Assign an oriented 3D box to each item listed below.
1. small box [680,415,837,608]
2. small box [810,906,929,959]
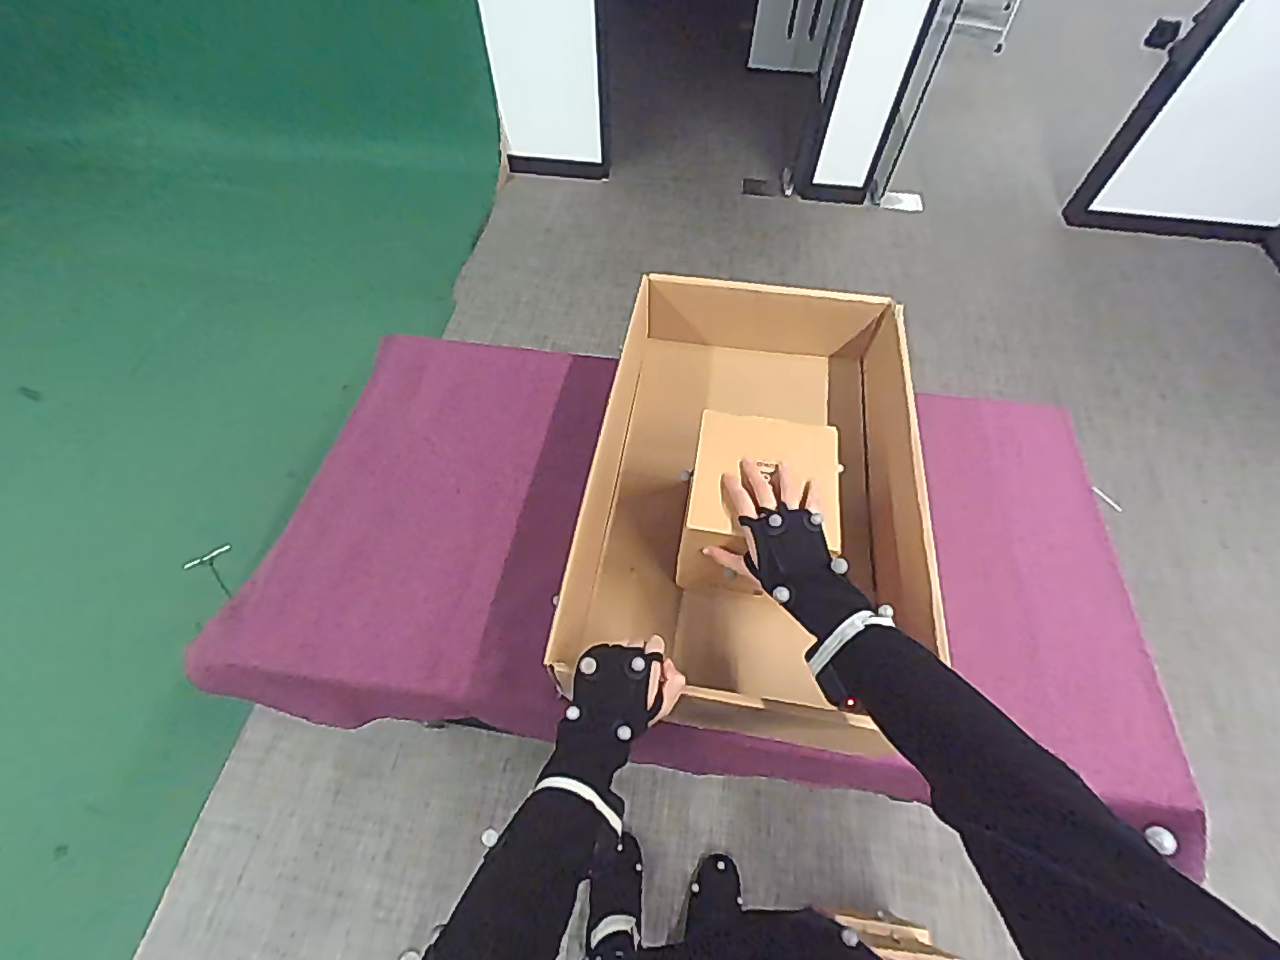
[{"bbox_3d":[0.144,0.045,0.687,0.168,0.176,0.179,8,55,6],"label":"small box"},{"bbox_3d":[0.439,0.946,1.043,0.179,0.176,0.168,6,58,4],"label":"small box"}]
